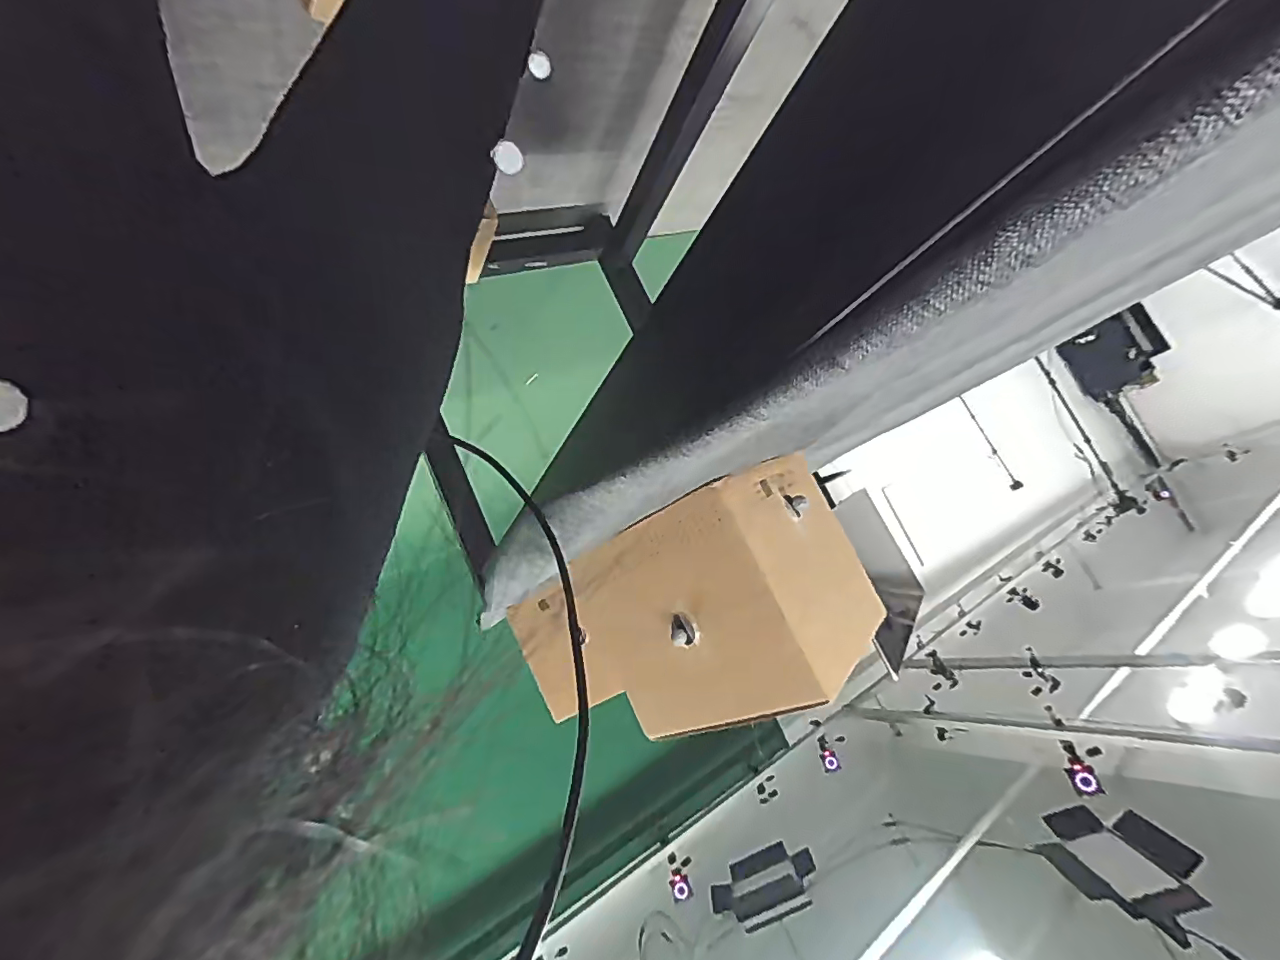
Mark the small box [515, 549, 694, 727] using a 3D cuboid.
[{"bbox_3d":[-0.048,0.213,0.777,0.168,0.176,0.179,-30,170,15],"label":"small box"}]
